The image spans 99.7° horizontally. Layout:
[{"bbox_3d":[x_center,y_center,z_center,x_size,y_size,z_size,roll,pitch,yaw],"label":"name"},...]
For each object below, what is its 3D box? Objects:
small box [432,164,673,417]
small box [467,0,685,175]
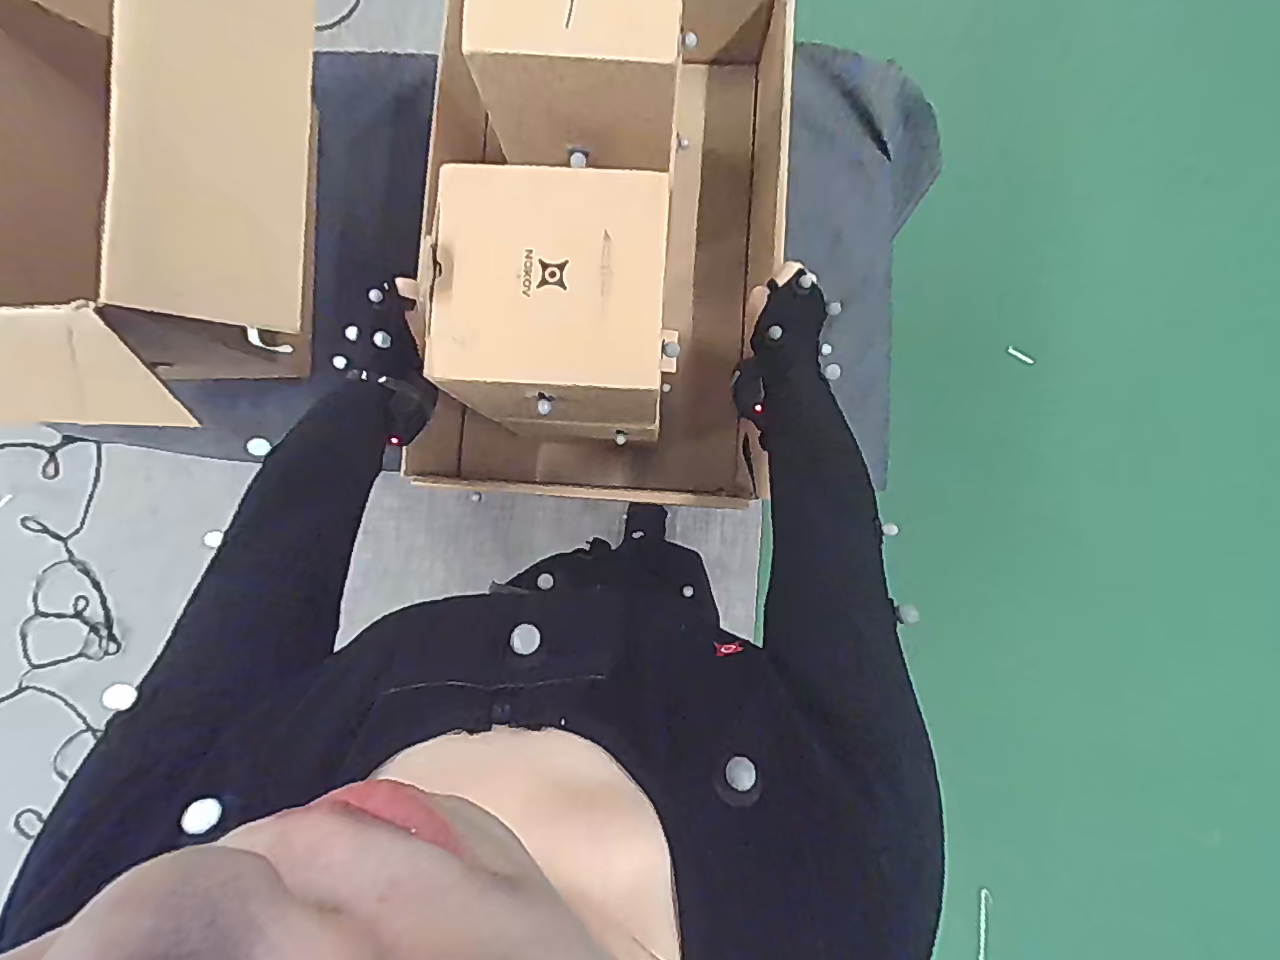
[{"bbox_3d":[-0.066,-0.152,0.488,0.179,0.176,0.168,3,88,-1],"label":"small box"},{"bbox_3d":[-0.045,-0.405,0.495,0.168,0.176,0.179,5,90,0],"label":"small box"}]
